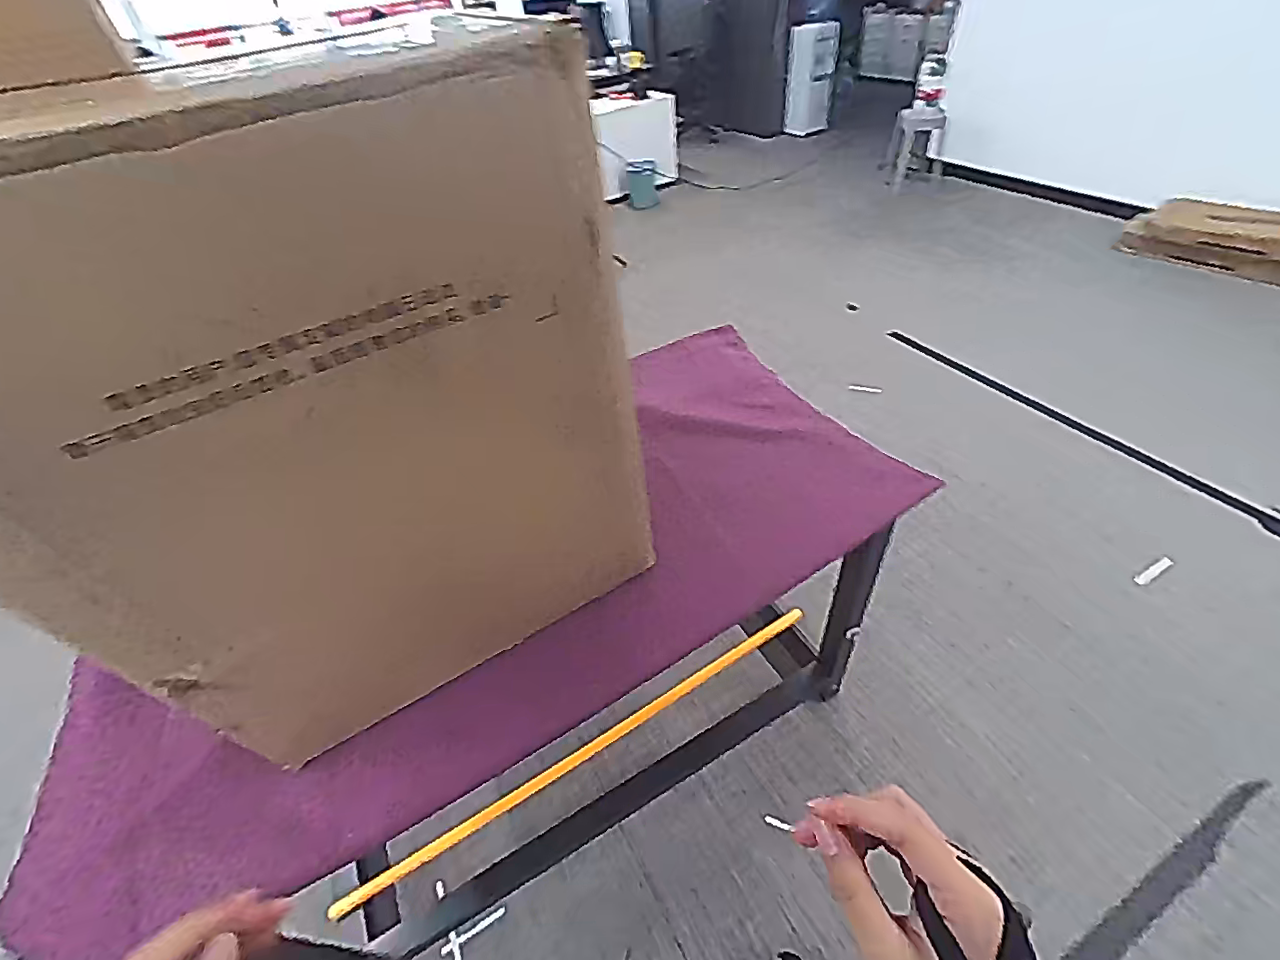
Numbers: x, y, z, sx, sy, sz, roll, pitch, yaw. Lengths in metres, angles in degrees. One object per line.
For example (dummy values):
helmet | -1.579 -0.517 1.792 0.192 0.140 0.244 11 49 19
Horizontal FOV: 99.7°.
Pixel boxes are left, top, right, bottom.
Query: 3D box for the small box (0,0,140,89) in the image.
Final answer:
small box | -0.509 -0.375 0.374 0.179 0.176 0.168 -28 48 -21
